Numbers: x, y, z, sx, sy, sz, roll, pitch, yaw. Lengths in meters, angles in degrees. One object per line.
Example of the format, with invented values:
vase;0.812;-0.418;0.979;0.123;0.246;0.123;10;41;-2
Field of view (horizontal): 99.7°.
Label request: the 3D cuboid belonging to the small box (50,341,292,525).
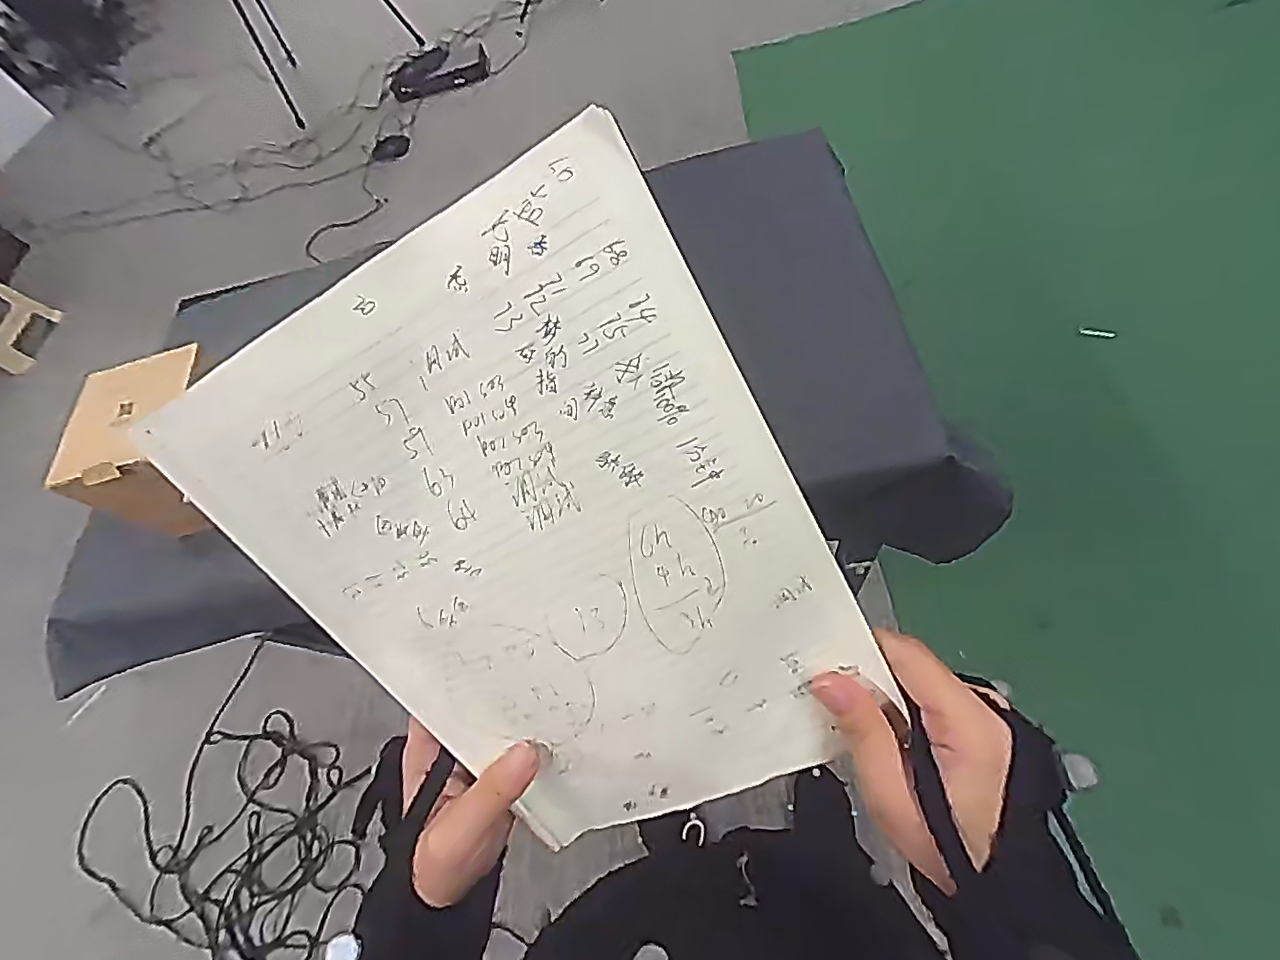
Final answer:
small box;-0.615;-0.052;0.737;0.168;0.176;0.179;-14;60;5
